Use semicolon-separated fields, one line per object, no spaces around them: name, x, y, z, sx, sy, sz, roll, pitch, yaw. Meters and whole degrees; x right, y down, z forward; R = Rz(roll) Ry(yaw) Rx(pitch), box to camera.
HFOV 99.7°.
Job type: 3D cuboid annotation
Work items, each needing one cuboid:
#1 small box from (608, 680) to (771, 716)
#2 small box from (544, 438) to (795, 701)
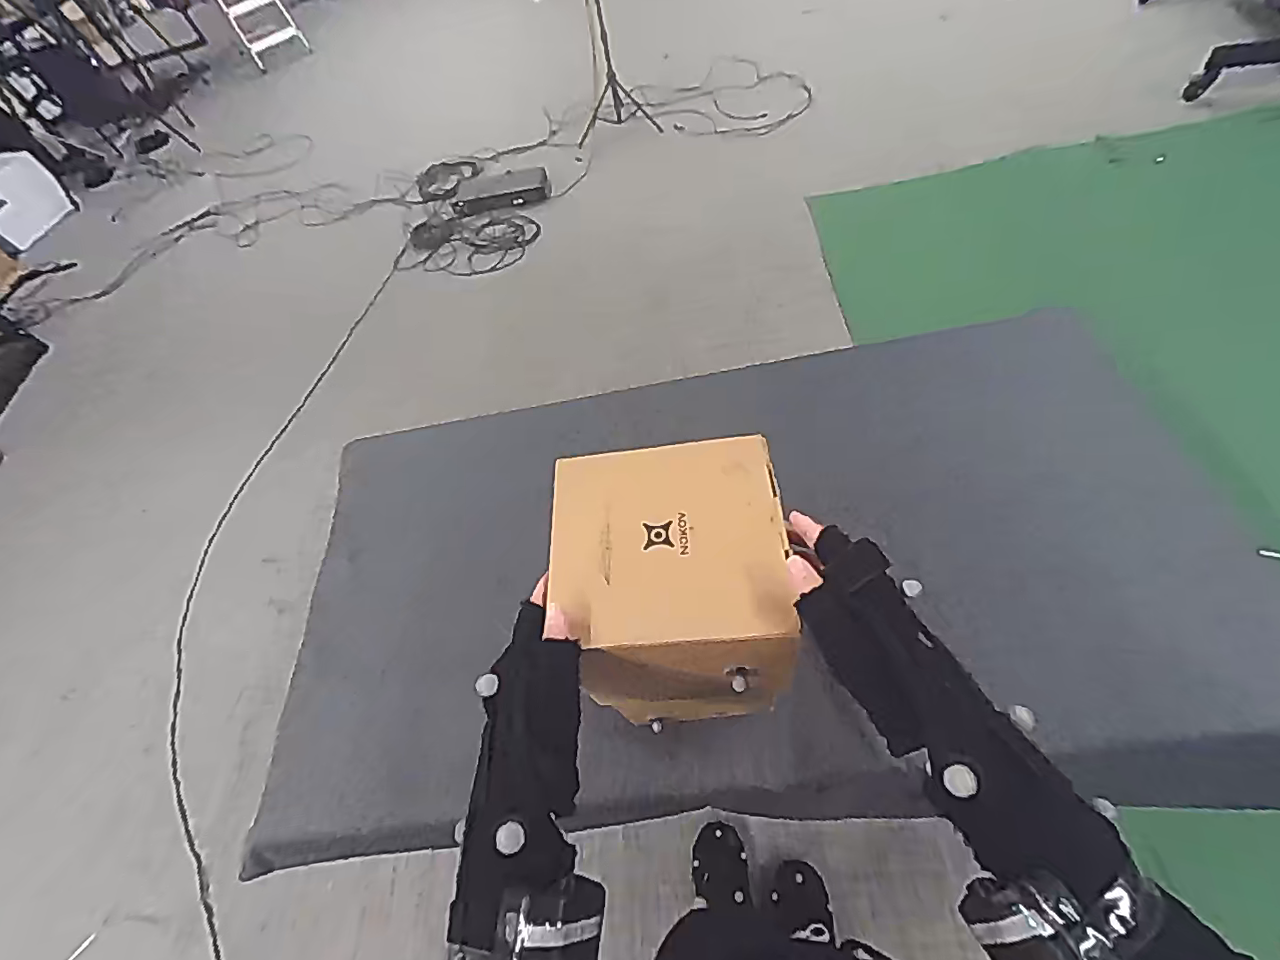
small box;0.051;0.162;0.619;0.168;0.176;0.179;-12;57;5
small box;0.029;0.087;0.477;0.179;0.176;0.168;-8;54;7
